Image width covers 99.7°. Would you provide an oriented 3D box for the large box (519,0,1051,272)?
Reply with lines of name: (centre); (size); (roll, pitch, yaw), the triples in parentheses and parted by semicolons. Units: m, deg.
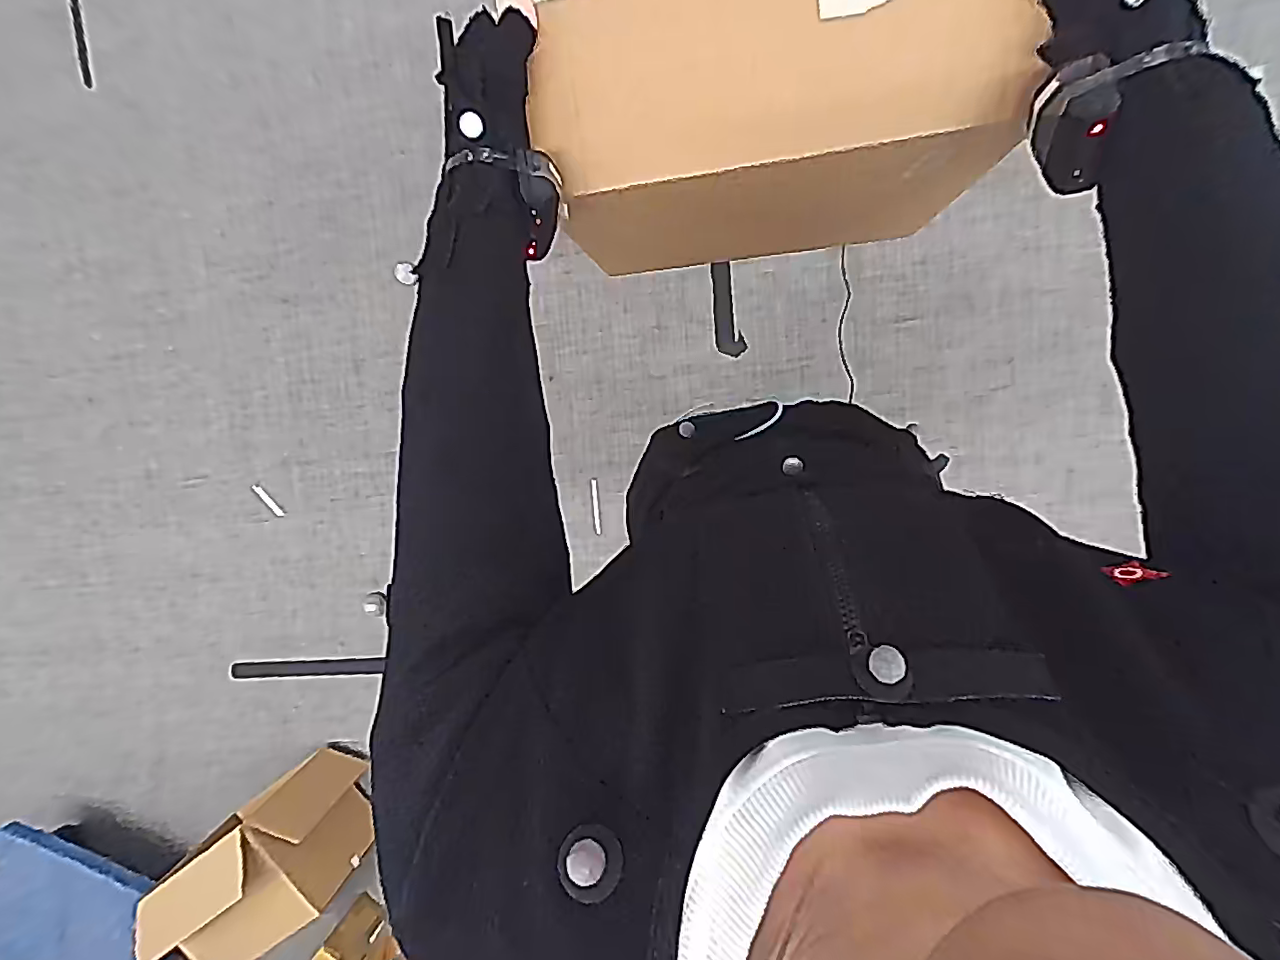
large box: (0.113, -0.434, 0.558); (0.408, 0.320, 0.320); (-5, 99, 9)
